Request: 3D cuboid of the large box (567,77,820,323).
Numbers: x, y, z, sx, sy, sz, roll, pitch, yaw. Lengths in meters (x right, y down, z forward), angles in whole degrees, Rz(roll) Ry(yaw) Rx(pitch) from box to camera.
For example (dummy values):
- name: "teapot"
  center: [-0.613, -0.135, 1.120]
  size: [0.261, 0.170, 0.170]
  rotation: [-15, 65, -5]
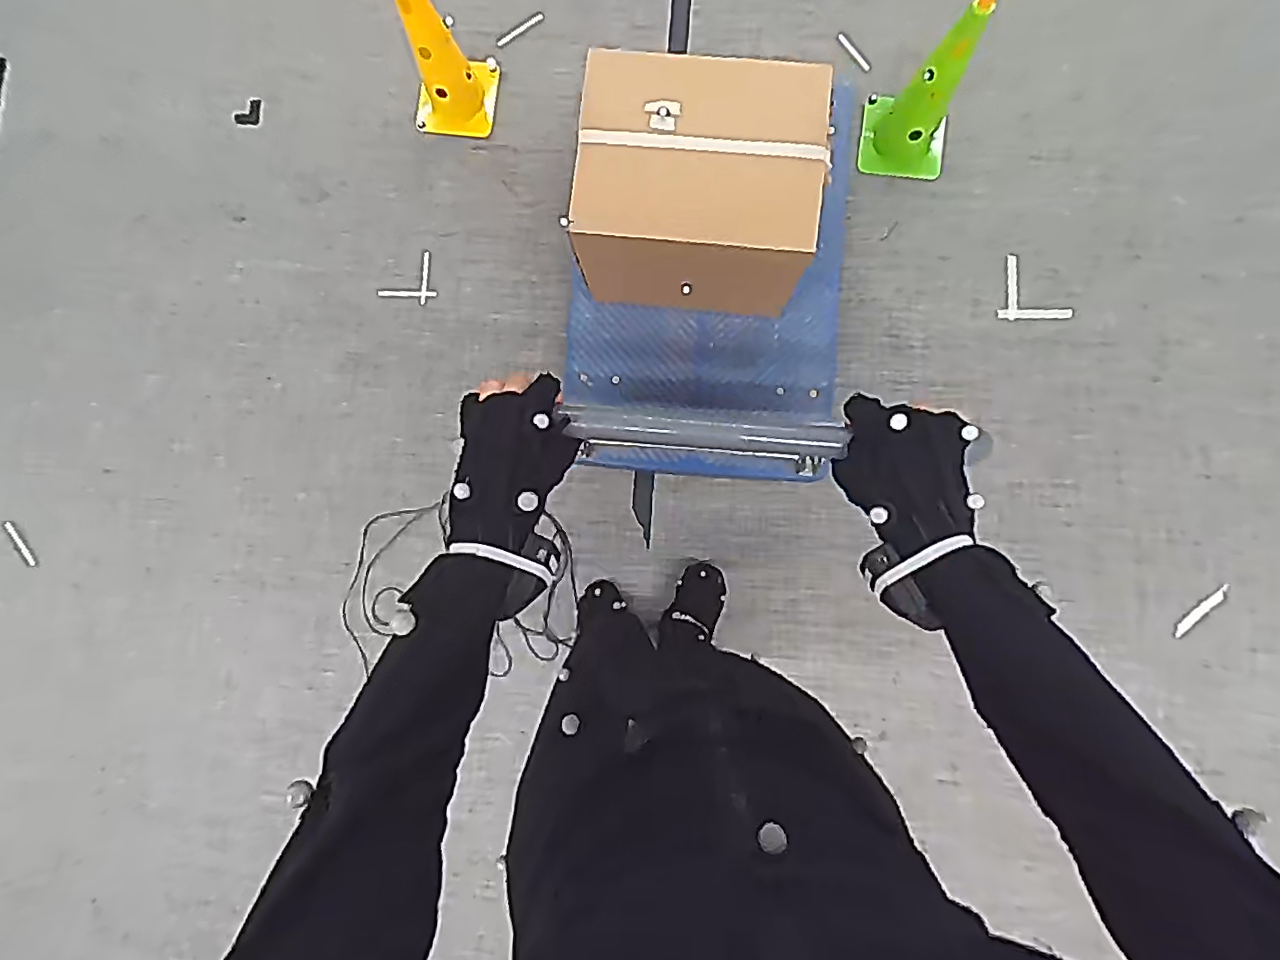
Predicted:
- name: "large box"
  center: [0.099, -0.511, 1.047]
  size: [0.408, 0.320, 0.320]
  rotation: [6, 87, 4]

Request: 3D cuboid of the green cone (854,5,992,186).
- name: "green cone"
  center: [0.637, -0.851, 1.184]
  size: [0.202, 0.368, 0.200]
  rotation: [7, 87, 2]
